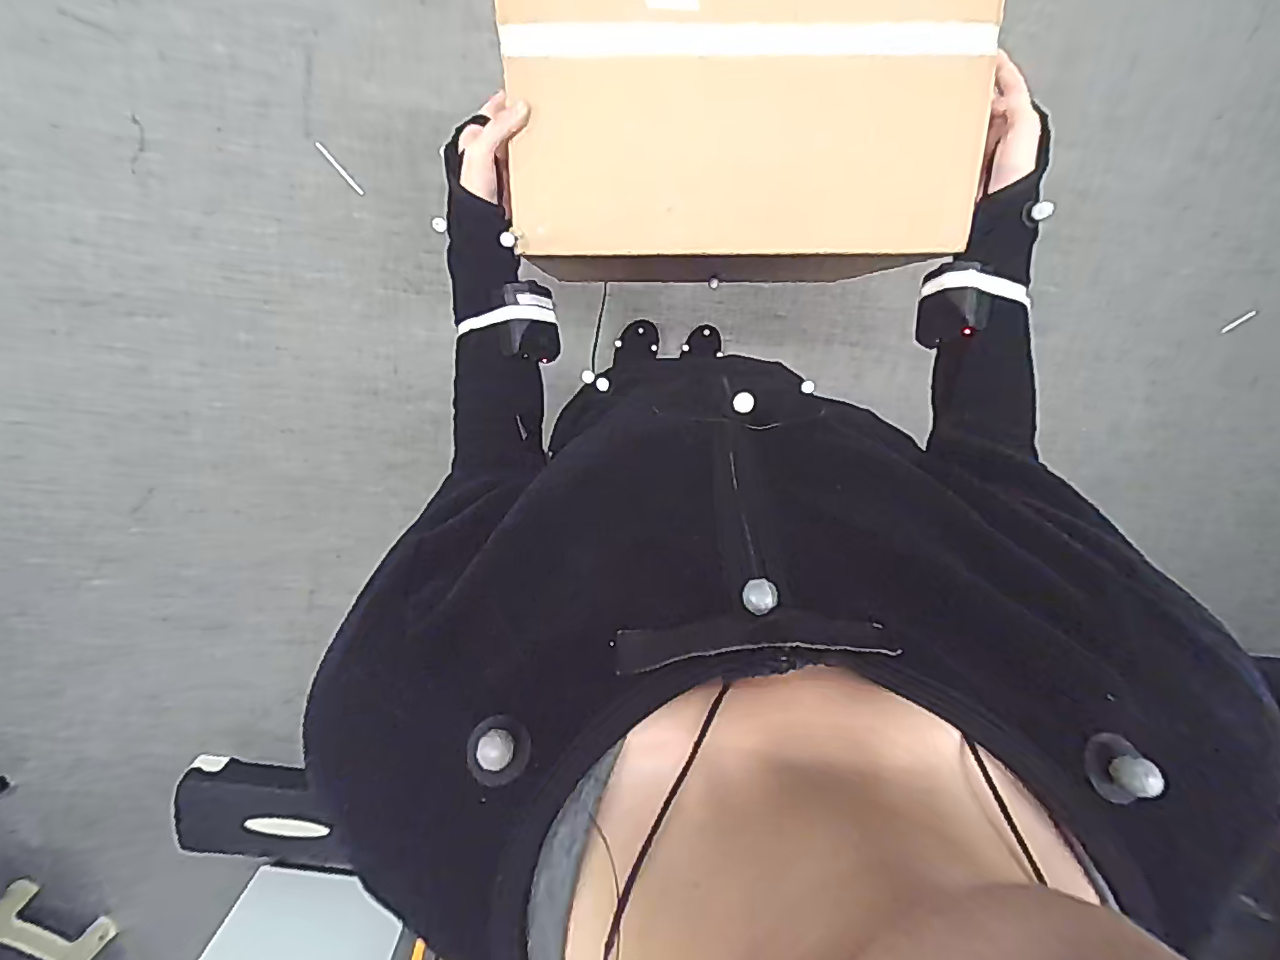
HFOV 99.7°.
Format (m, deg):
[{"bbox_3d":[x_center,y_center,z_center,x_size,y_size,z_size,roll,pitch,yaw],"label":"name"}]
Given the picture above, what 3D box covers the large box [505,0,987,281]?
[{"bbox_3d":[0.088,-0.396,0.597,0.408,0.320,0.320,-1,105,0],"label":"large box"}]
